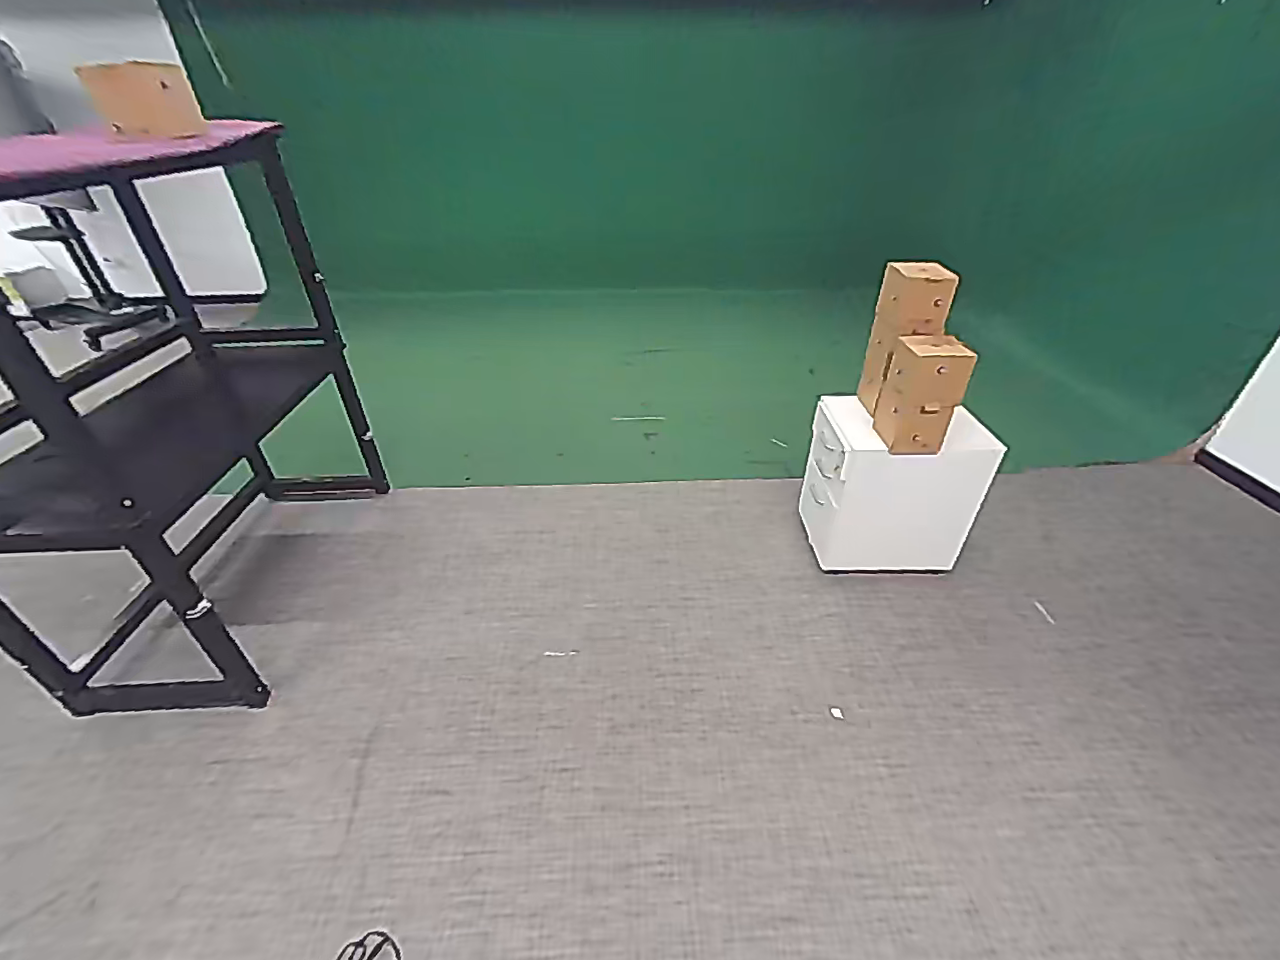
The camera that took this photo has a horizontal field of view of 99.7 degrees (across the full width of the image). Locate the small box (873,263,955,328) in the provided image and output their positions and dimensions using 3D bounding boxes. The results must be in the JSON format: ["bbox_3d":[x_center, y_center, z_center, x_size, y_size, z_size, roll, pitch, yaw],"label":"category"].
[{"bbox_3d":[0.899,-0.611,1.789,0.168,0.176,0.179,1,35,0],"label":"small box"}]

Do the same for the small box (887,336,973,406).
[{"bbox_3d":[0.894,-0.342,1.693,0.179,0.176,0.168,1,36,1],"label":"small box"}]

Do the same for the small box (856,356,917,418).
[{"bbox_3d":[0.912,-0.343,1.978,0.168,0.176,0.179,-1,37,0],"label":"small box"}]

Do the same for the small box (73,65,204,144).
[{"bbox_3d":[-1.365,-1.032,1.493,0.168,0.176,0.179,-3,35,1],"label":"small box"}]
